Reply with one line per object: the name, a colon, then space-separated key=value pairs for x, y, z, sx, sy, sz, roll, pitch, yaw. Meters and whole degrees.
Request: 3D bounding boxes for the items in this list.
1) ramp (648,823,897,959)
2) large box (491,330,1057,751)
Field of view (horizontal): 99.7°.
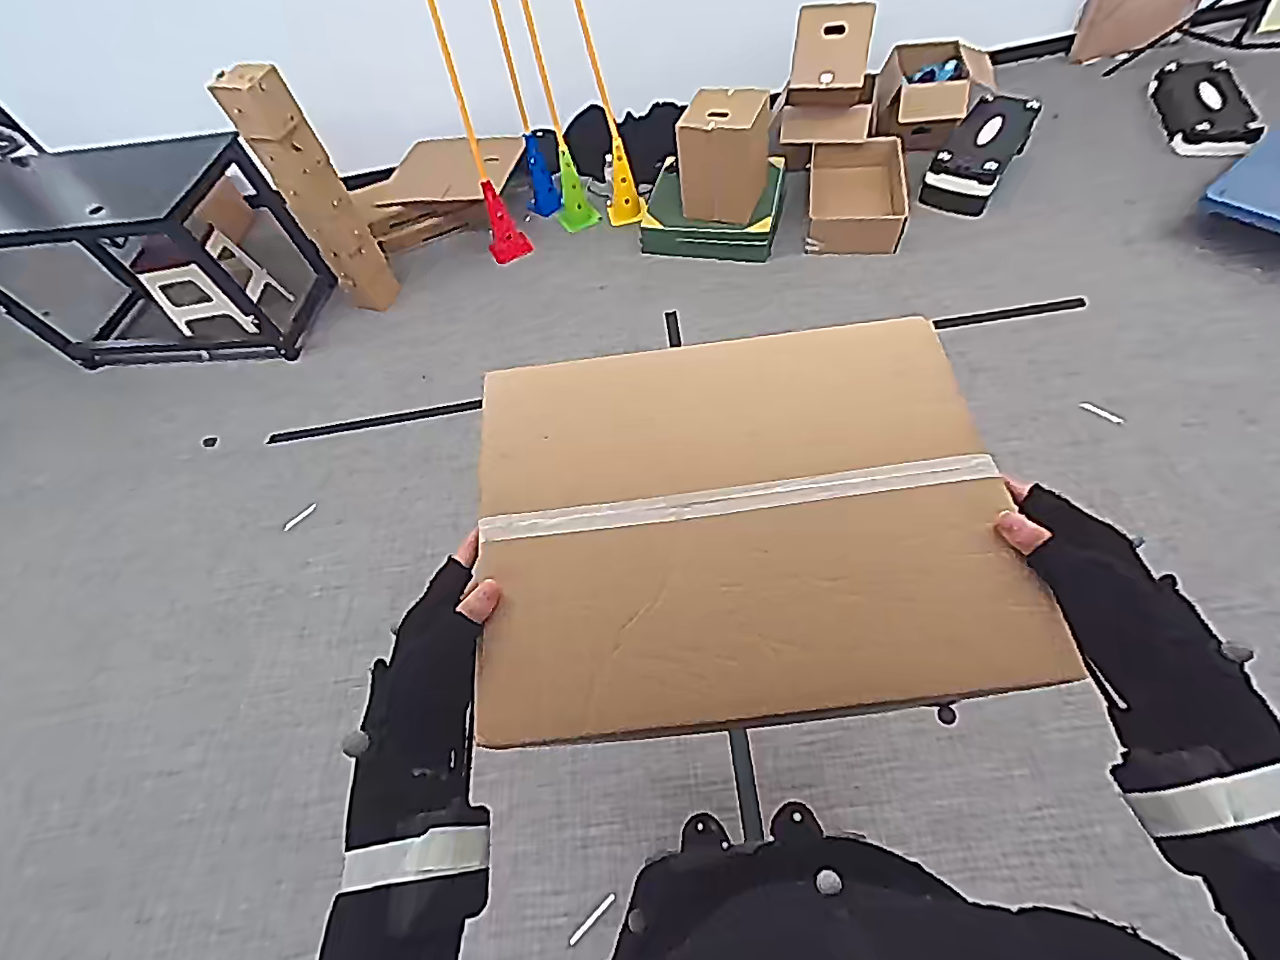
ramp: x=0.317 y=1.248 z=1.022 sx=0.509 sy=0.206 sz=0.991 roll=-9 pitch=58 yaw=2
large box: x=0.089 y=0.088 z=0.571 sx=0.408 sy=0.320 sz=0.320 roll=-8 pitch=63 yaw=2
